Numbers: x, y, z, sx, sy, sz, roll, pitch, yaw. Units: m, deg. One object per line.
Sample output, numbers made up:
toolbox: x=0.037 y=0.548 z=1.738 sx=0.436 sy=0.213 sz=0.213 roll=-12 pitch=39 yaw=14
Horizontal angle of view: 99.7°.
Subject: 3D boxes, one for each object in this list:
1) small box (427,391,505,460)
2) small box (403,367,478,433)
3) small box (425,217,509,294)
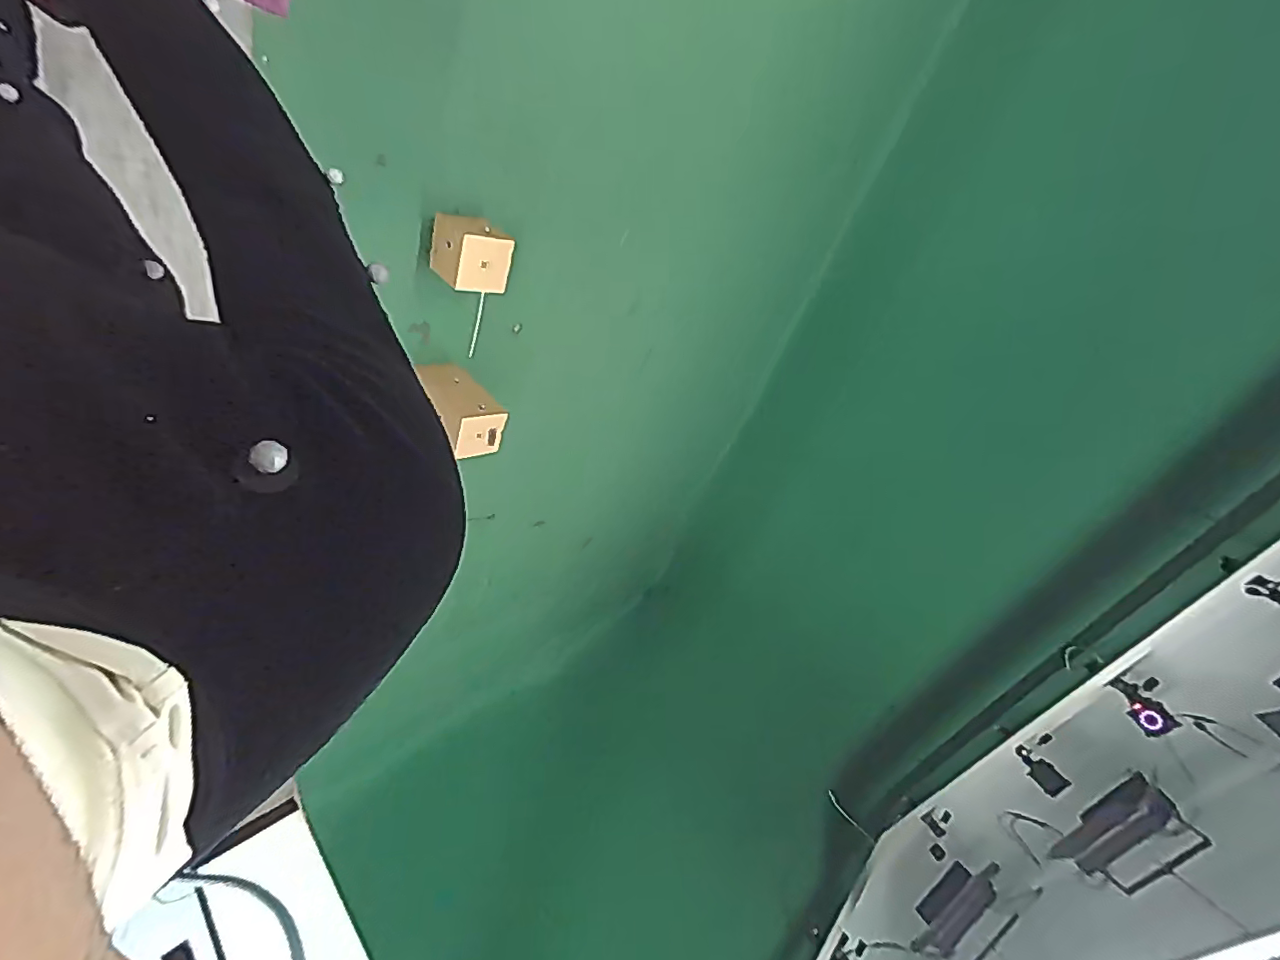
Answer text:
small box: x=-0.595 y=-0.192 z=1.839 sx=0.179 sy=0.176 sz=0.168 roll=-17 pitch=139 yaw=-47
small box: x=-0.706 y=-0.290 z=1.910 sx=0.179 sy=0.176 sz=0.168 roll=-17 pitch=139 yaw=-48
small box: x=-0.535 y=-0.688 z=1.654 sx=0.179 sy=0.176 sz=0.168 roll=-19 pitch=140 yaw=-47
